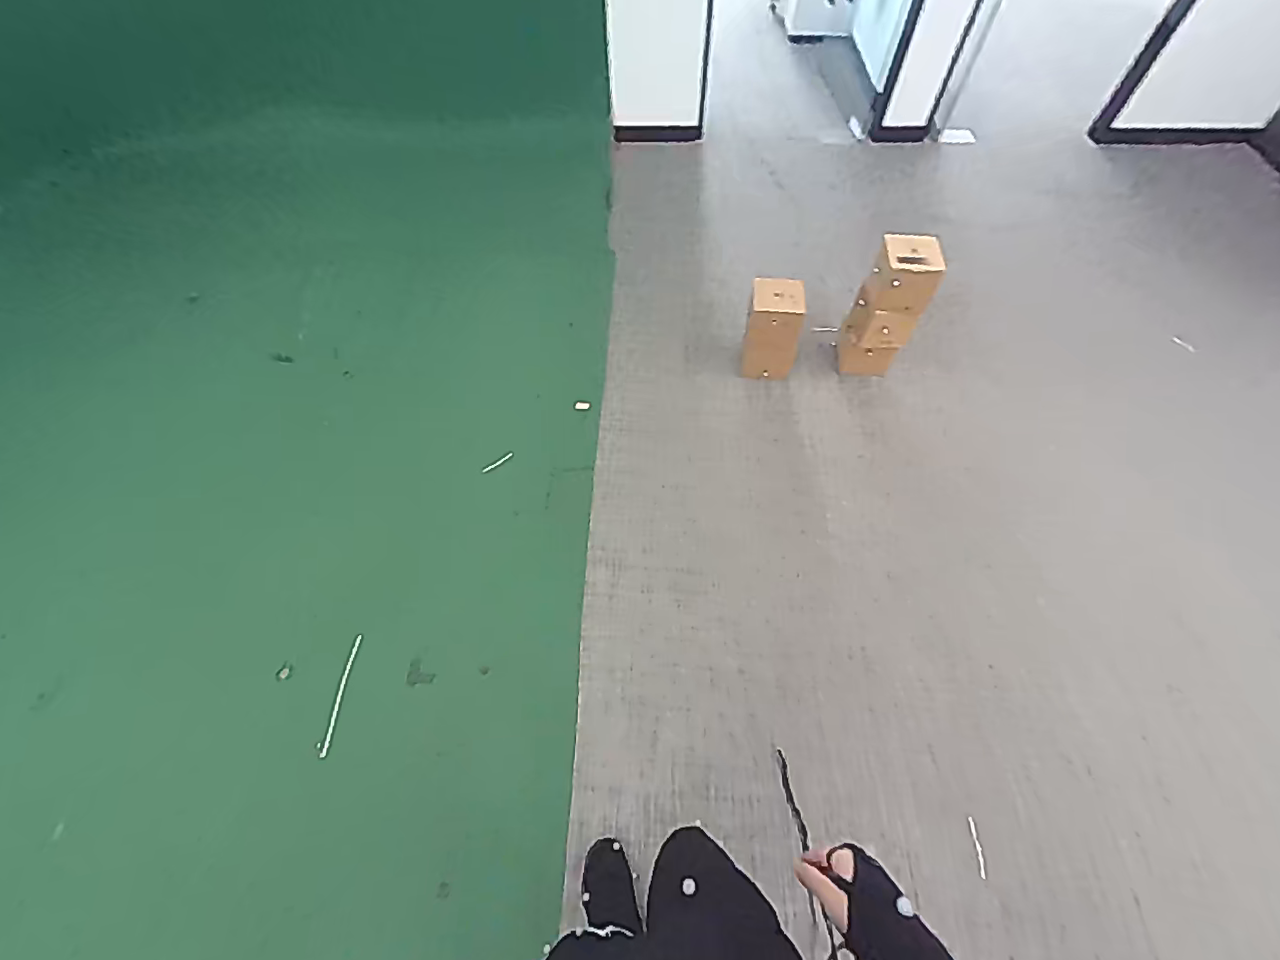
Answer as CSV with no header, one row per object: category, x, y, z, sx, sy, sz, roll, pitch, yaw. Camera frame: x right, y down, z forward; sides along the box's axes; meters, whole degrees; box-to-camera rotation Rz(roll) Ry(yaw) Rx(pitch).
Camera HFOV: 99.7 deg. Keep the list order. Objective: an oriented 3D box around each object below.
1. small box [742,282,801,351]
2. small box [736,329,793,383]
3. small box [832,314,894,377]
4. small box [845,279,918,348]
small box,0.456,-0.572,1.901,0.179,0.176,0.168,4,59,3
small box,0.465,-0.485,2.041,0.179,0.176,0.168,4,58,3
small box,0.839,-0.508,2.047,0.179,0.176,0.168,2,59,1
small box,0.842,-0.579,1.901,0.168,0.176,0.179,-1,58,0
